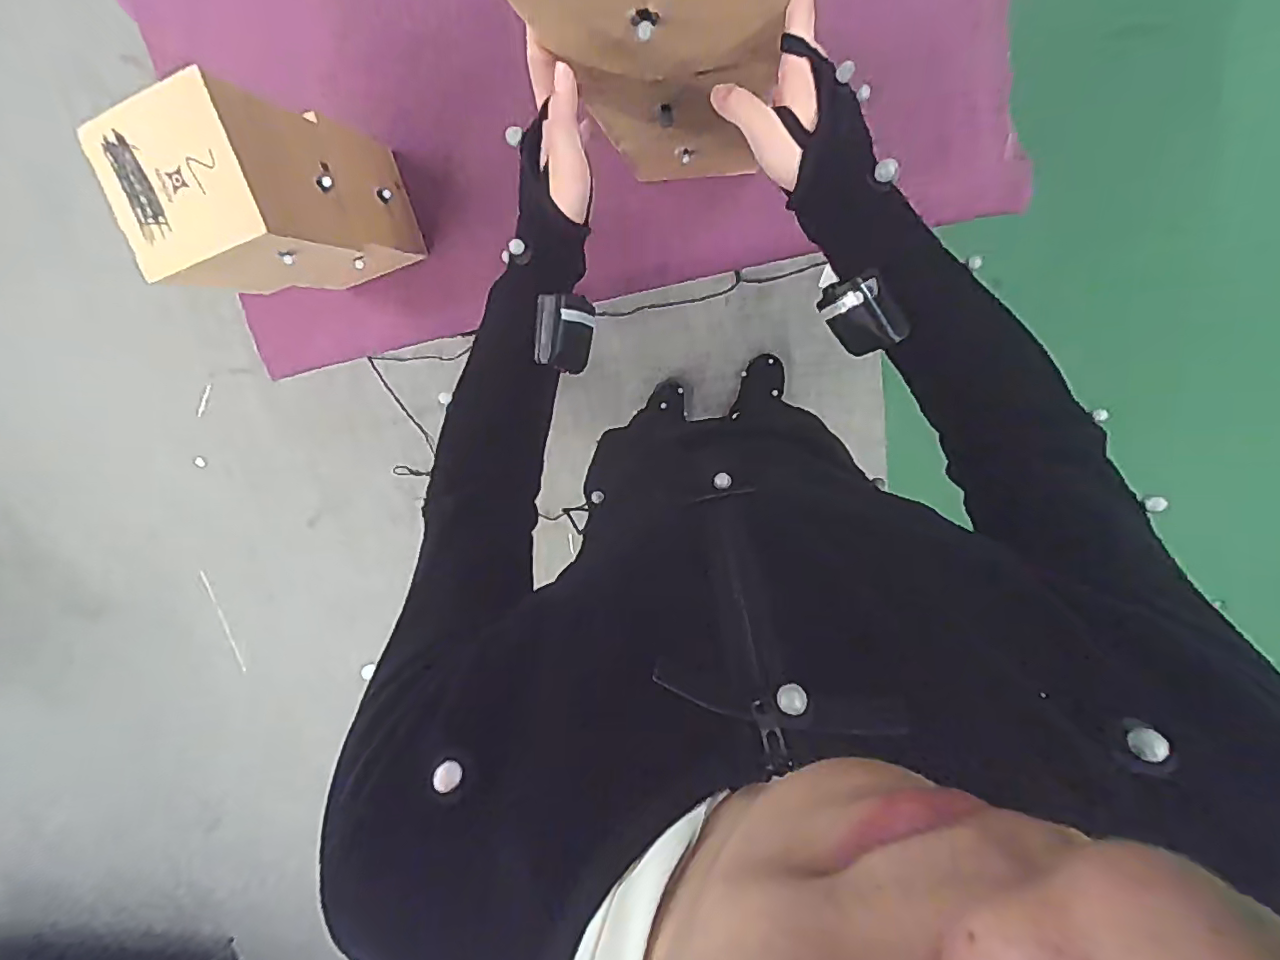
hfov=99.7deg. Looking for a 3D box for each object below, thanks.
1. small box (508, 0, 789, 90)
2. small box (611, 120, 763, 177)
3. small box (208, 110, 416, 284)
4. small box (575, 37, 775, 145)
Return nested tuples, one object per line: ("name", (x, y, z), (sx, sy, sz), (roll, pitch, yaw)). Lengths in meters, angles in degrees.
("small box", (0.010, -0.393, 0.354), (0.179, 0.176, 0.168), (0, 105, 15))
("small box", (0.066, -0.491, 0.675), (0.179, 0.176, 0.168), (2, 107, 9))
("small box", (-0.459, -0.398, 0.793), (0.179, 0.176, 0.168), (-13, 103, 13))
("small box", (0.039, -0.445, 0.521), (0.179, 0.176, 0.168), (-1, 107, 11))
